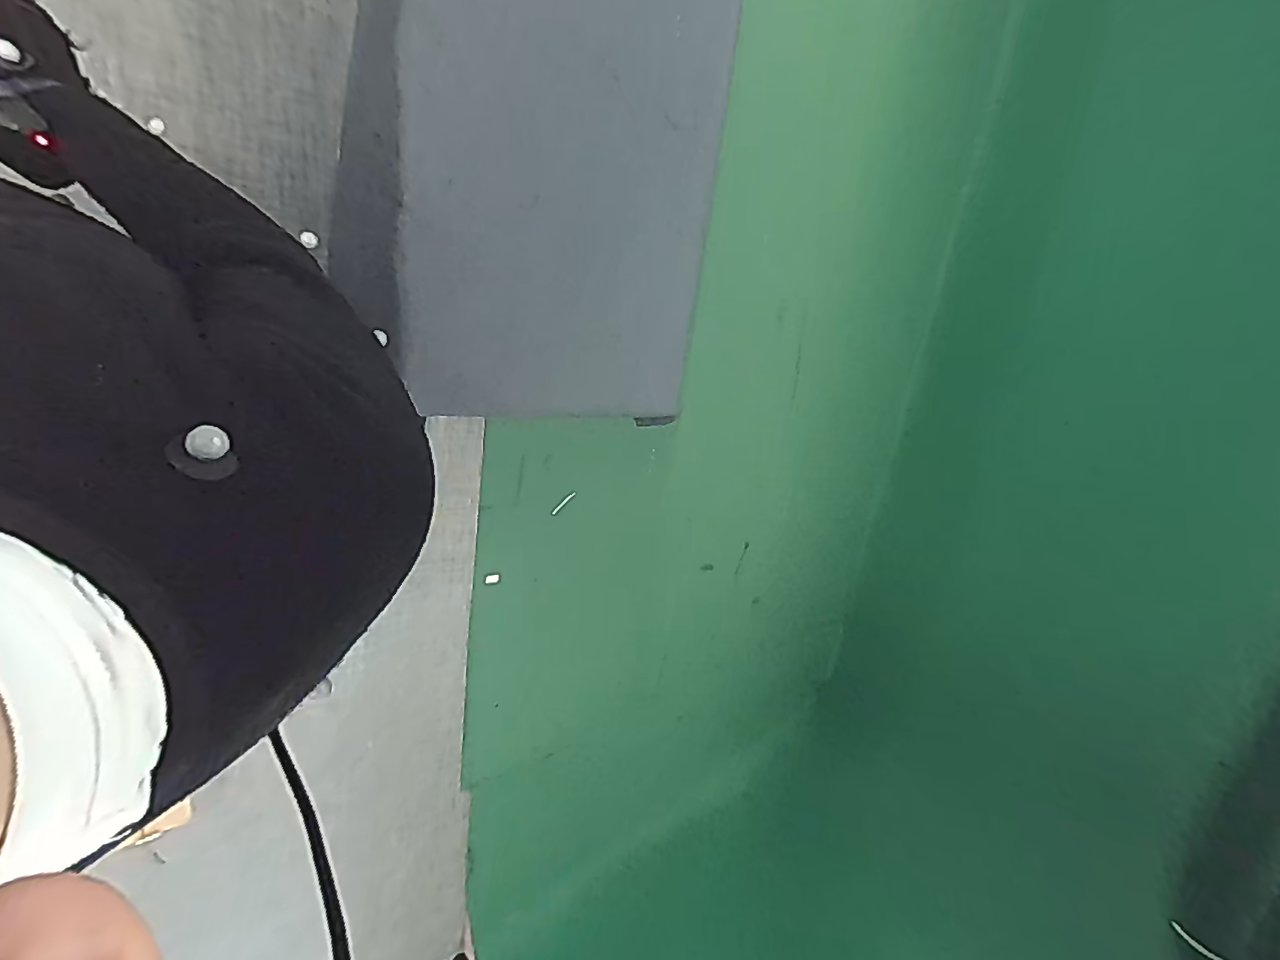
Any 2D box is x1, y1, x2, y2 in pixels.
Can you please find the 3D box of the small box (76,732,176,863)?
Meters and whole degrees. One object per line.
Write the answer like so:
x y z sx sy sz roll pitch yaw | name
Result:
-1.230 0.750 1.298 0.168 0.176 0.179 -4 110 -45 | small box

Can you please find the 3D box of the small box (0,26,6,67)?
-0.643 -0.441 0.413 0.179 0.176 0.168 -16 115 -37 | small box
